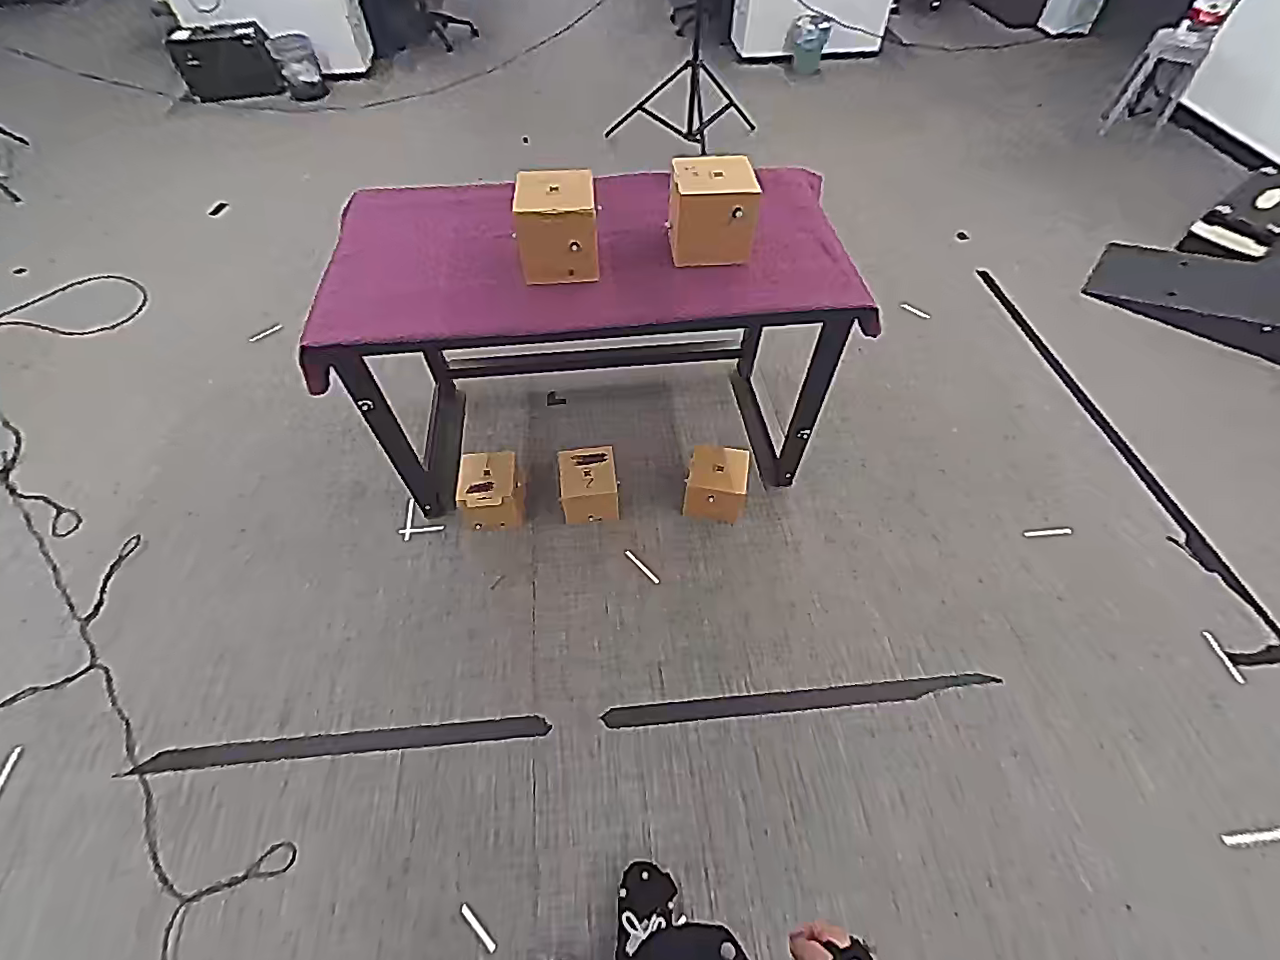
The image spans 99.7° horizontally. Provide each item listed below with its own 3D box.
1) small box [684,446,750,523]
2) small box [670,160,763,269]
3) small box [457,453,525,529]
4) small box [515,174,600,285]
[{"bbox_3d":[0.239,0.019,1.690,0.179,0.176,0.168,8,56,7],"label":"small box"},{"bbox_3d":[0.166,-0.603,1.234,0.179,0.176,0.168,-4,54,-2],"label":"small box"},{"bbox_3d":[-0.452,0.040,1.673,0.168,0.176,0.179,-4,54,-3],"label":"small box"},{"bbox_3d":[-0.177,-0.550,1.198,0.168,0.176,0.179,-3,53,-4],"label":"small box"}]
